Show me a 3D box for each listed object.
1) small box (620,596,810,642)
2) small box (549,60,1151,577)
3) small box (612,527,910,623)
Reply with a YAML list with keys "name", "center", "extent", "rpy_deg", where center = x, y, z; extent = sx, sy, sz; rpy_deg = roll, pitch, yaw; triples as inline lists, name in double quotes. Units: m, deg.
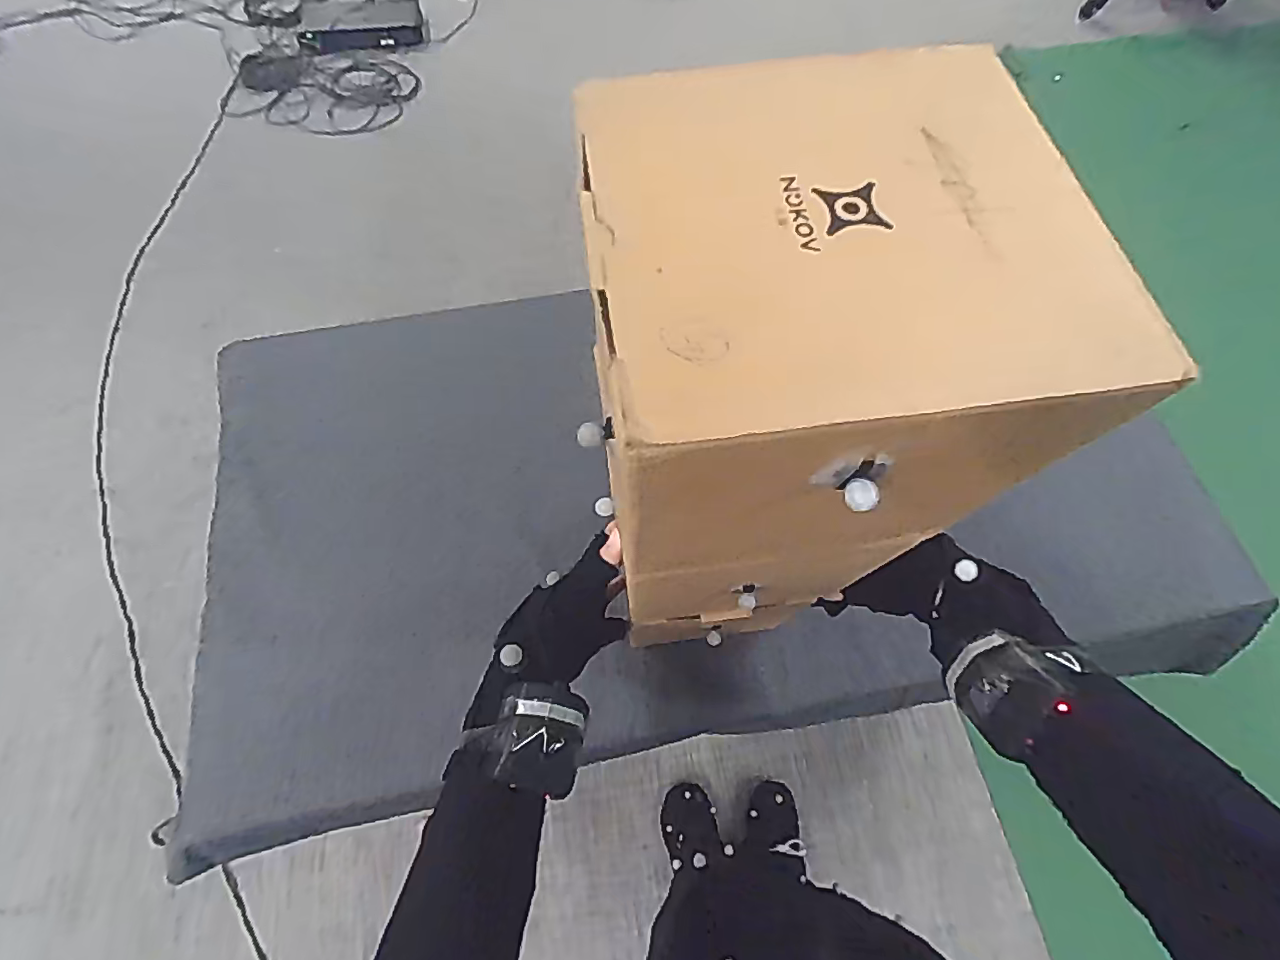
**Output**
- name: "small box"
  center: [0.057, 0.069, 0.566]
  extent: [0.168, 0.176, 0.179]
  rpy_deg: [-8, 68, -3]
- name: "small box"
  center: [0.061, -0.058, 0.265]
  extent: [0.179, 0.176, 0.168]
  rpy_deg: [-8, 68, -4]
- name: "small box"
  center: [0.062, 0.006, 0.413]
  extent: [0.179, 0.176, 0.168]
  rpy_deg: [-8, 67, -3]
